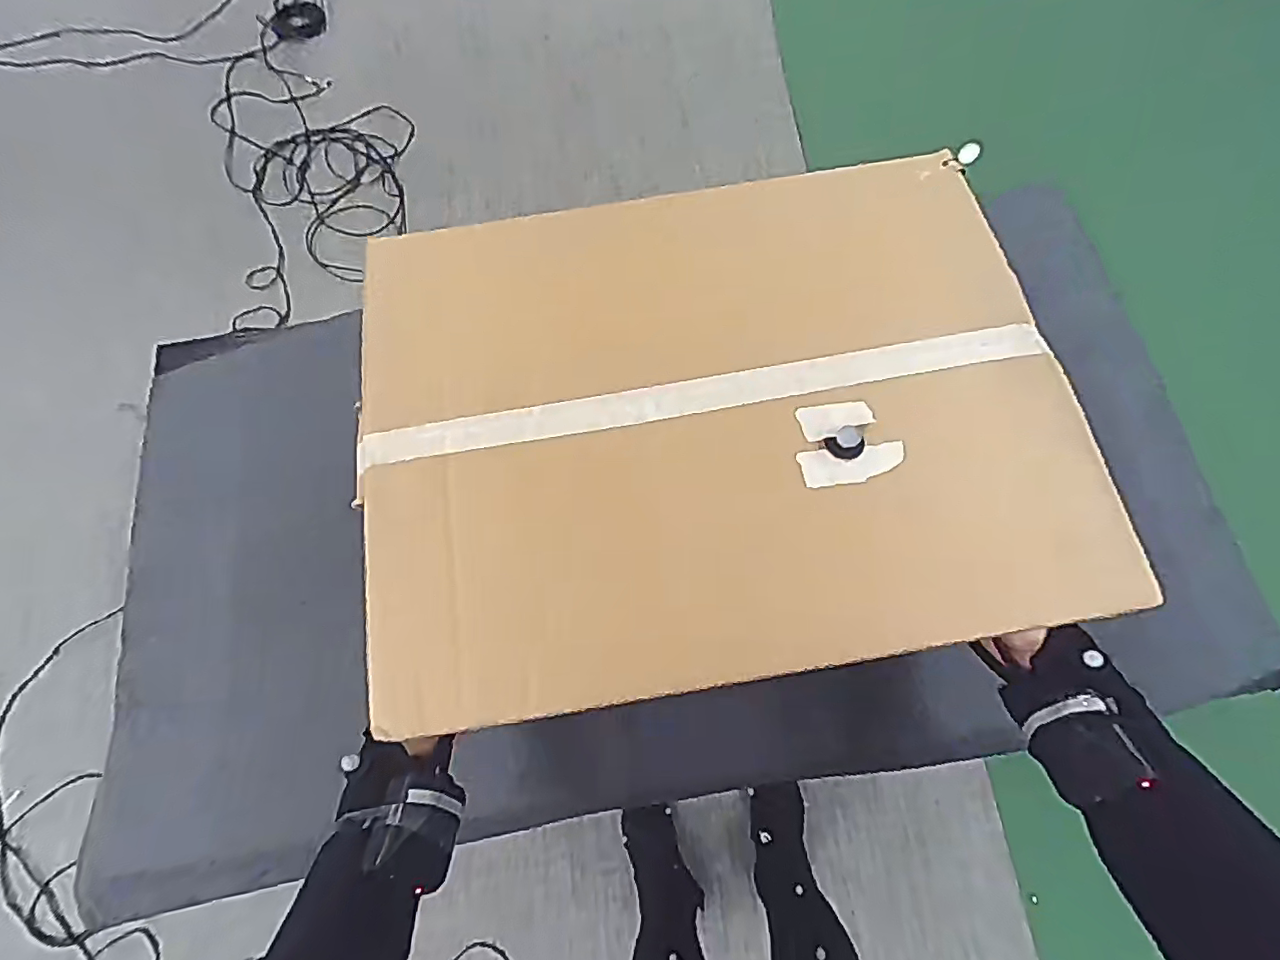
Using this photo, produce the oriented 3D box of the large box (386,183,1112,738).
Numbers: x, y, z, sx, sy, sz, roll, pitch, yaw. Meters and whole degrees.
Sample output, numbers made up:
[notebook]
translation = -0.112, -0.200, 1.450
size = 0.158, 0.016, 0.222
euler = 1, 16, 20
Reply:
[large box]
translation = 0.045, 0.008, 0.480
size = 0.408, 0.320, 0.320
euler = -10, 72, -2
